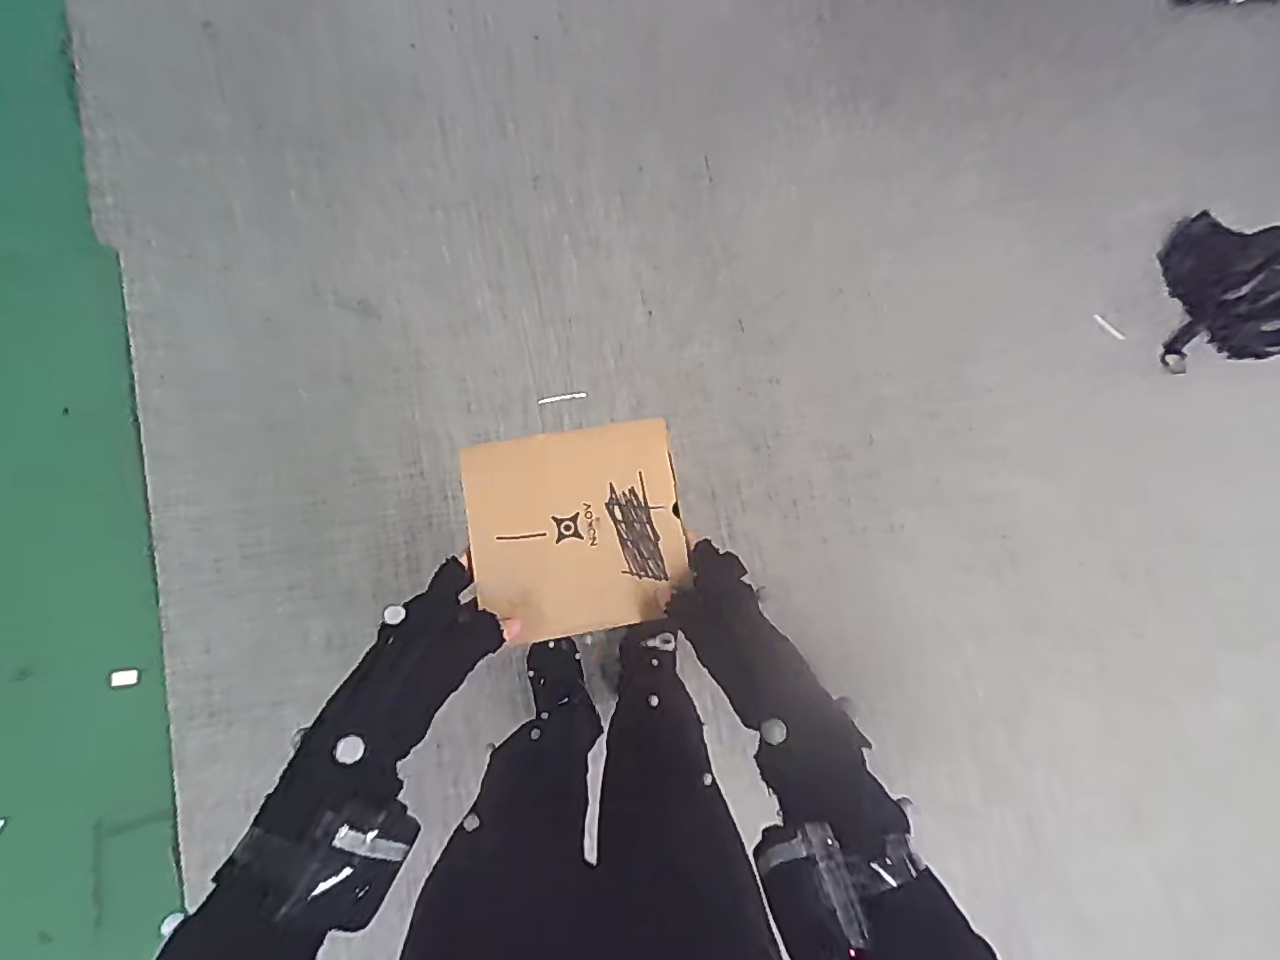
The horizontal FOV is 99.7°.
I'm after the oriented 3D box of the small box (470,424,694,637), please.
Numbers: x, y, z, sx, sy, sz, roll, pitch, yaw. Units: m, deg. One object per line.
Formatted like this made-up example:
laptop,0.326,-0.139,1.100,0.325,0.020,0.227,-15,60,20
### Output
small box,-0.057,0.054,0.529,0.179,0.176,0.168,-7,77,-6
